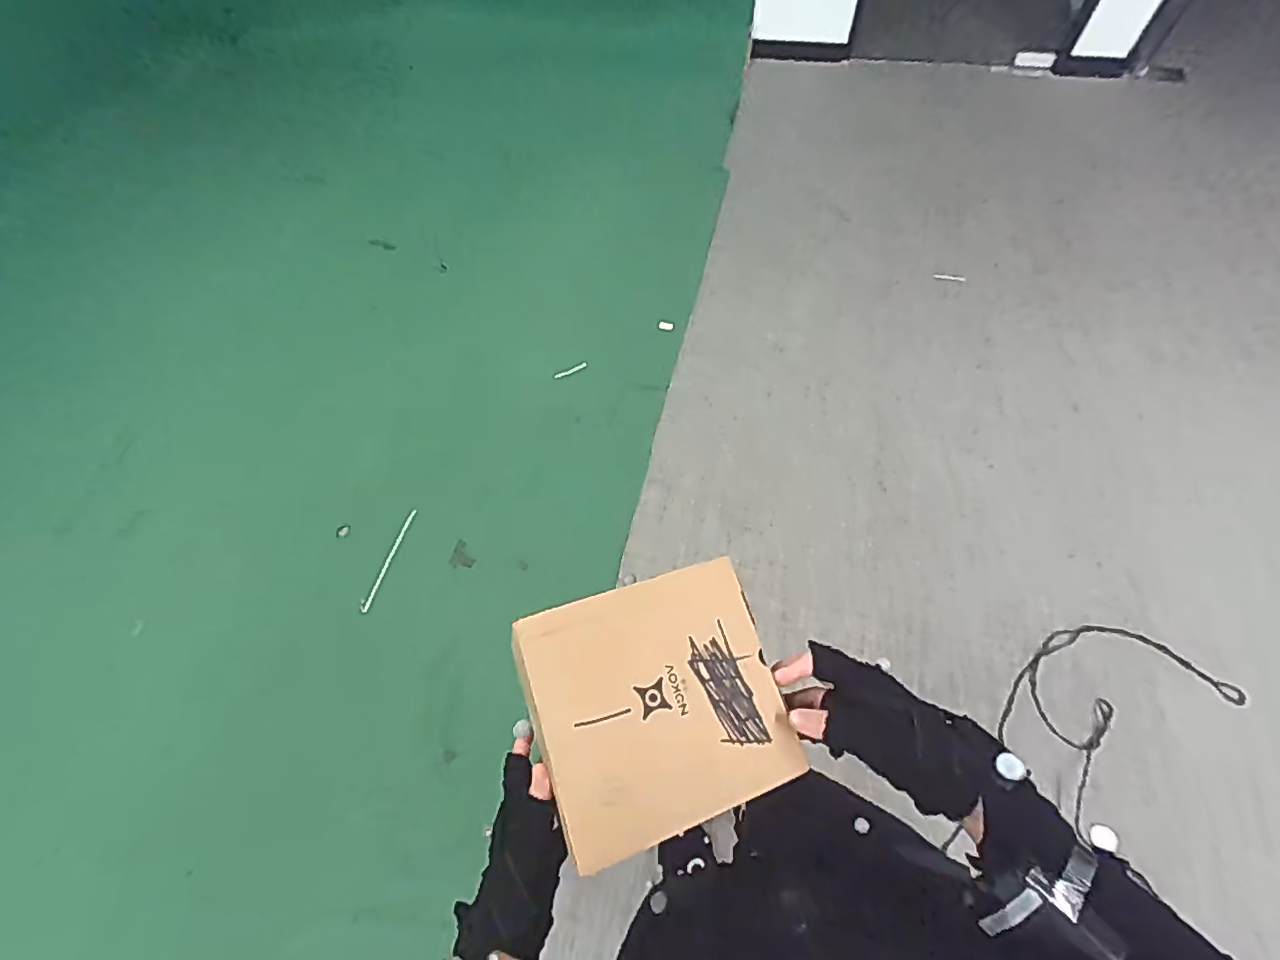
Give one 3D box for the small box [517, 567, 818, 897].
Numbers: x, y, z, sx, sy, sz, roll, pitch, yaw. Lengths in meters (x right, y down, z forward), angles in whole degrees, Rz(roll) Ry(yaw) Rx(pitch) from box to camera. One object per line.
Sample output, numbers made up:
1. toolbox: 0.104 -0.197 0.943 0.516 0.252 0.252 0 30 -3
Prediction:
1. small box: 0.003 0.186 0.443 0.179 0.176 0.168 -14 72 -18
